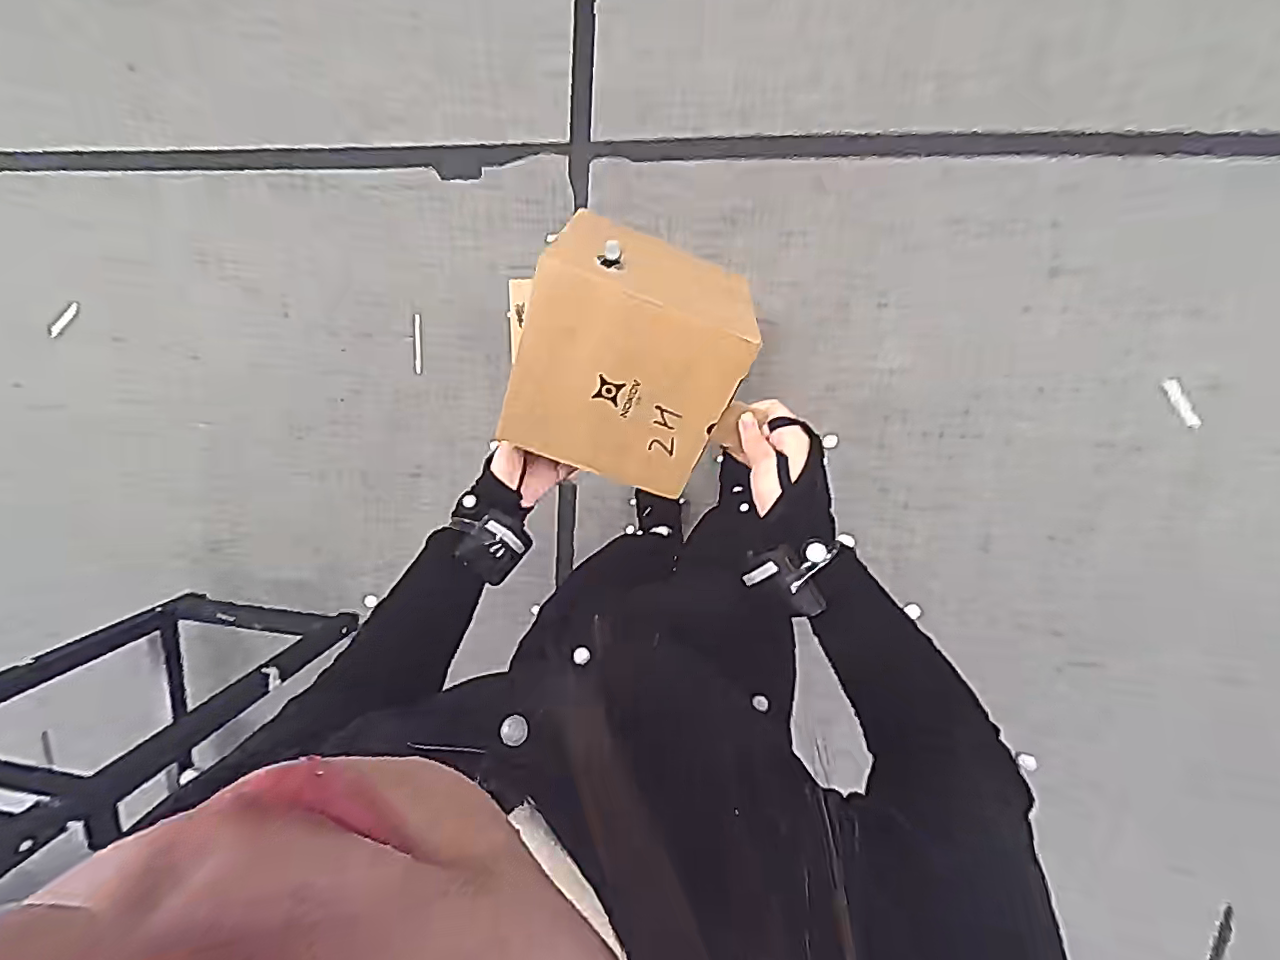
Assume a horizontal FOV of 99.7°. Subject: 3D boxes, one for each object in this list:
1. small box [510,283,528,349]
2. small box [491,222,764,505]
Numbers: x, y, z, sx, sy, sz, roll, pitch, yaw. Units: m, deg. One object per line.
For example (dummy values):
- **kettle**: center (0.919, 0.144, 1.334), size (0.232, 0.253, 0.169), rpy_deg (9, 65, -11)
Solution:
- **small box**: center (-0.154, -0.305, 1.106), size (0.179, 0.176, 0.168), rpy_deg (2, 101, 6)
- **small box**: center (-0.012, -0.112, 0.488), size (0.179, 0.176, 0.168), rpy_deg (19, 126, -9)
